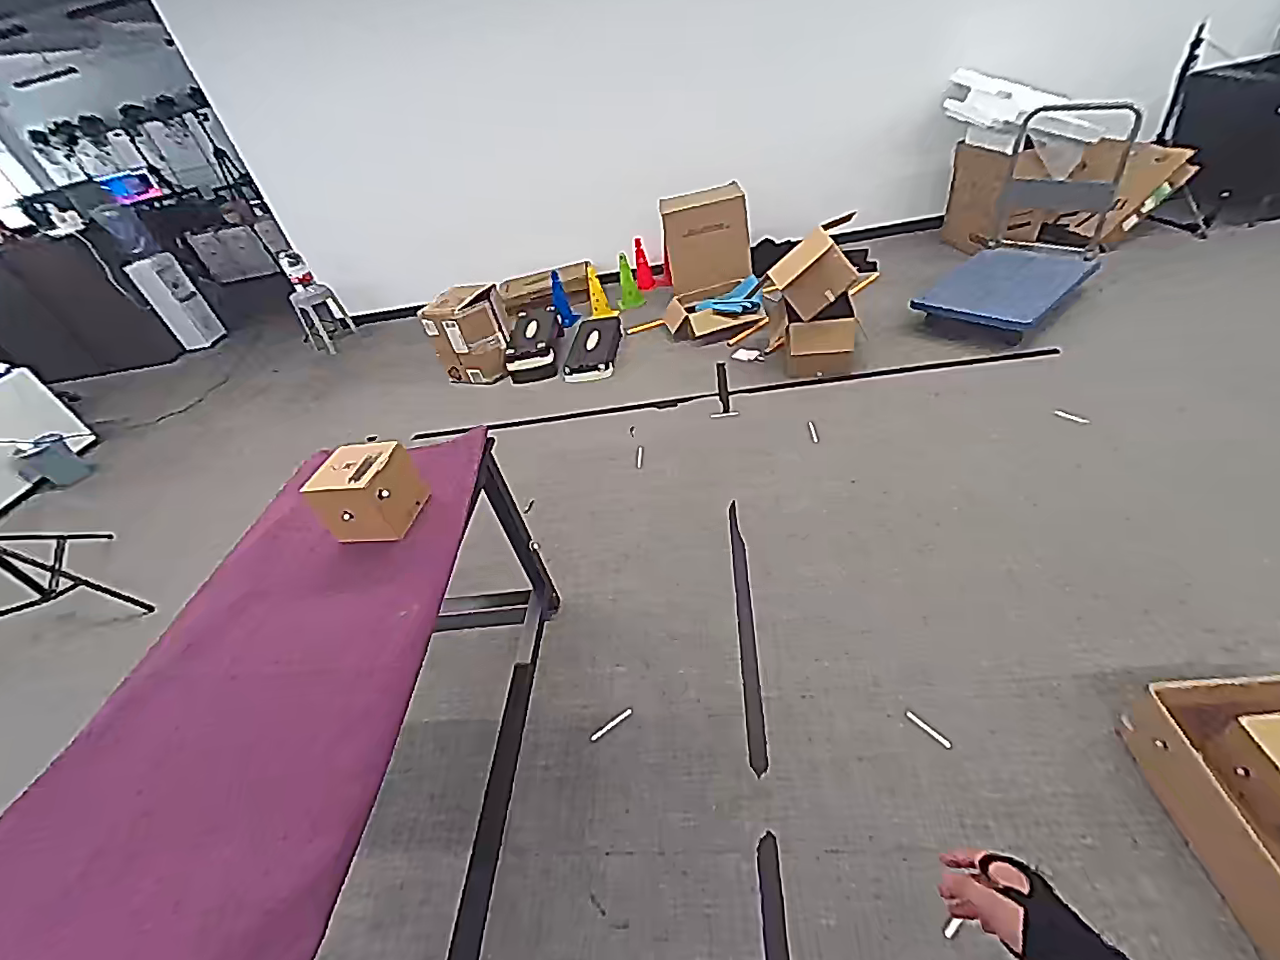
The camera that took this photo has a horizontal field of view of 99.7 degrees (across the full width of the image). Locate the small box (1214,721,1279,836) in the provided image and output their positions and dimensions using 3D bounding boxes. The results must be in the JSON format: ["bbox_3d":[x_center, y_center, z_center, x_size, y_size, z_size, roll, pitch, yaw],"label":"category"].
[{"bbox_3d":[1.351,0.611,1.108,0.179,0.176,0.168,-8,41,7],"label":"small box"}]
